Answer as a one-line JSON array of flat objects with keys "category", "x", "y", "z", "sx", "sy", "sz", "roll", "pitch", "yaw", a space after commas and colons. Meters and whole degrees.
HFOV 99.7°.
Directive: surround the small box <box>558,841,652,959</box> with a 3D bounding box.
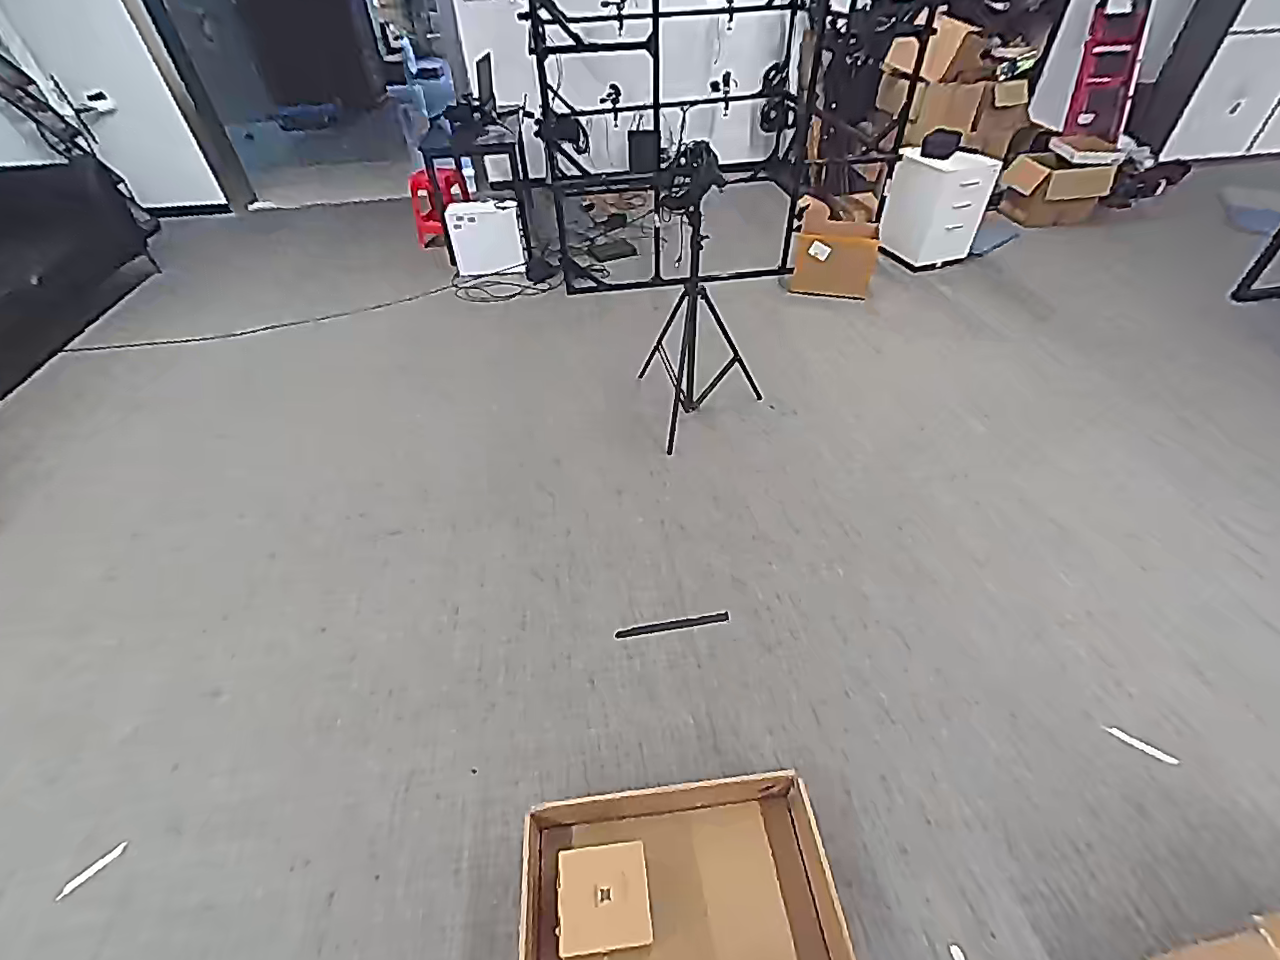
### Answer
[{"category": "small box", "x": -0.070, "y": 0.860, "z": 1.101, "sx": 0.179, "sy": 0.176, "sz": 0.168, "roll": -5, "pitch": 46, "yaw": -5}]
